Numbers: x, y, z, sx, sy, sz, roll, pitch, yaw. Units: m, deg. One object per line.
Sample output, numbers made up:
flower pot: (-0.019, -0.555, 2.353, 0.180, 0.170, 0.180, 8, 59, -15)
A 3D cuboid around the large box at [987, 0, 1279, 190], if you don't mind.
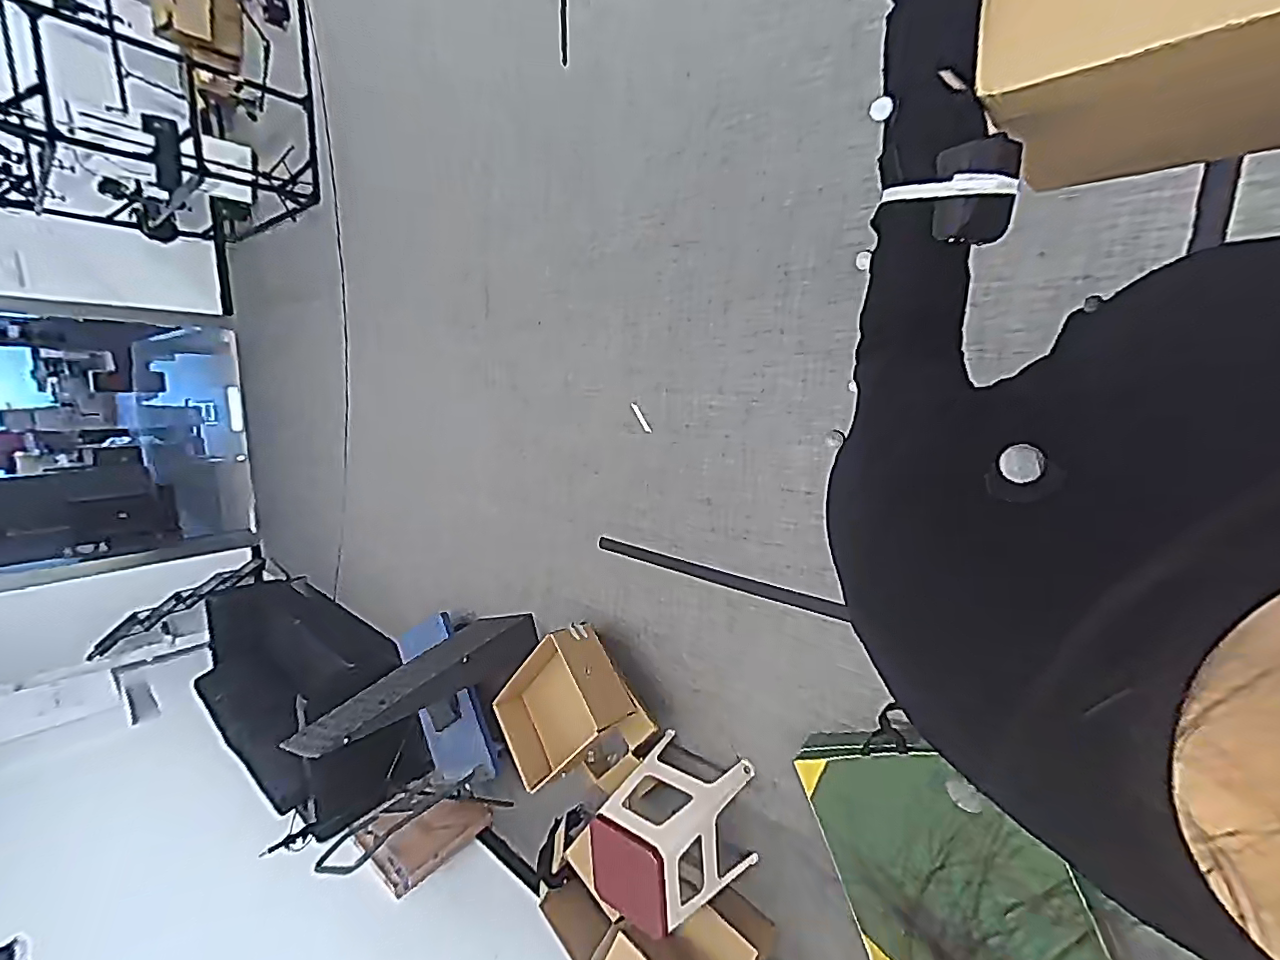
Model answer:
large box: (0.478, -0.419, 0.329, 0.408, 0.320, 0.320, 8, 106, 40)
